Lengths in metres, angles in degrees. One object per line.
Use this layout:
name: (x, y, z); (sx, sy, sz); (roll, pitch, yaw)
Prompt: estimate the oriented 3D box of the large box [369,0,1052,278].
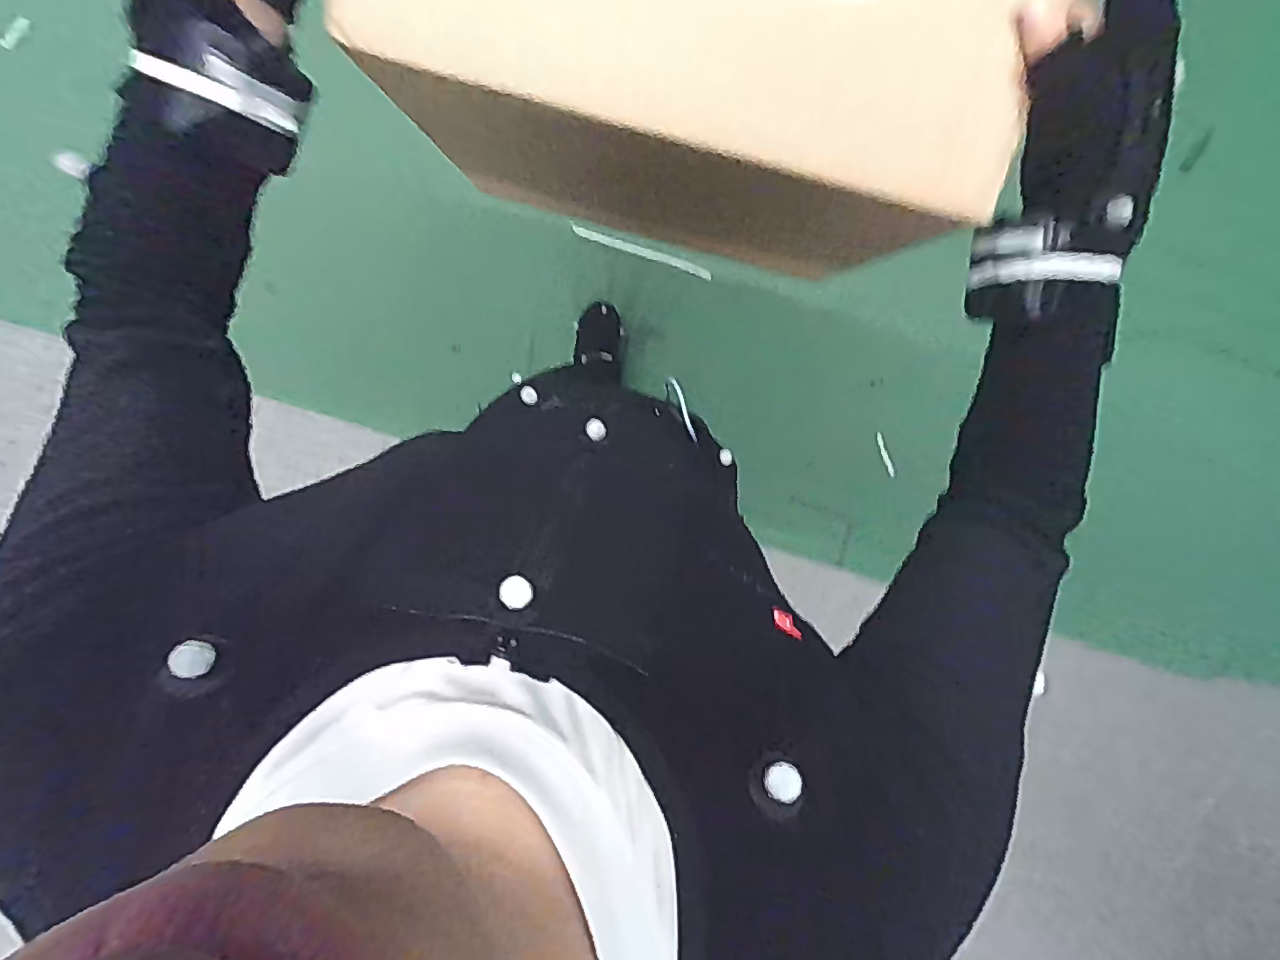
large box: (0.057, -0.389, 0.451); (0.408, 0.320, 0.320); (13, 103, -4)
